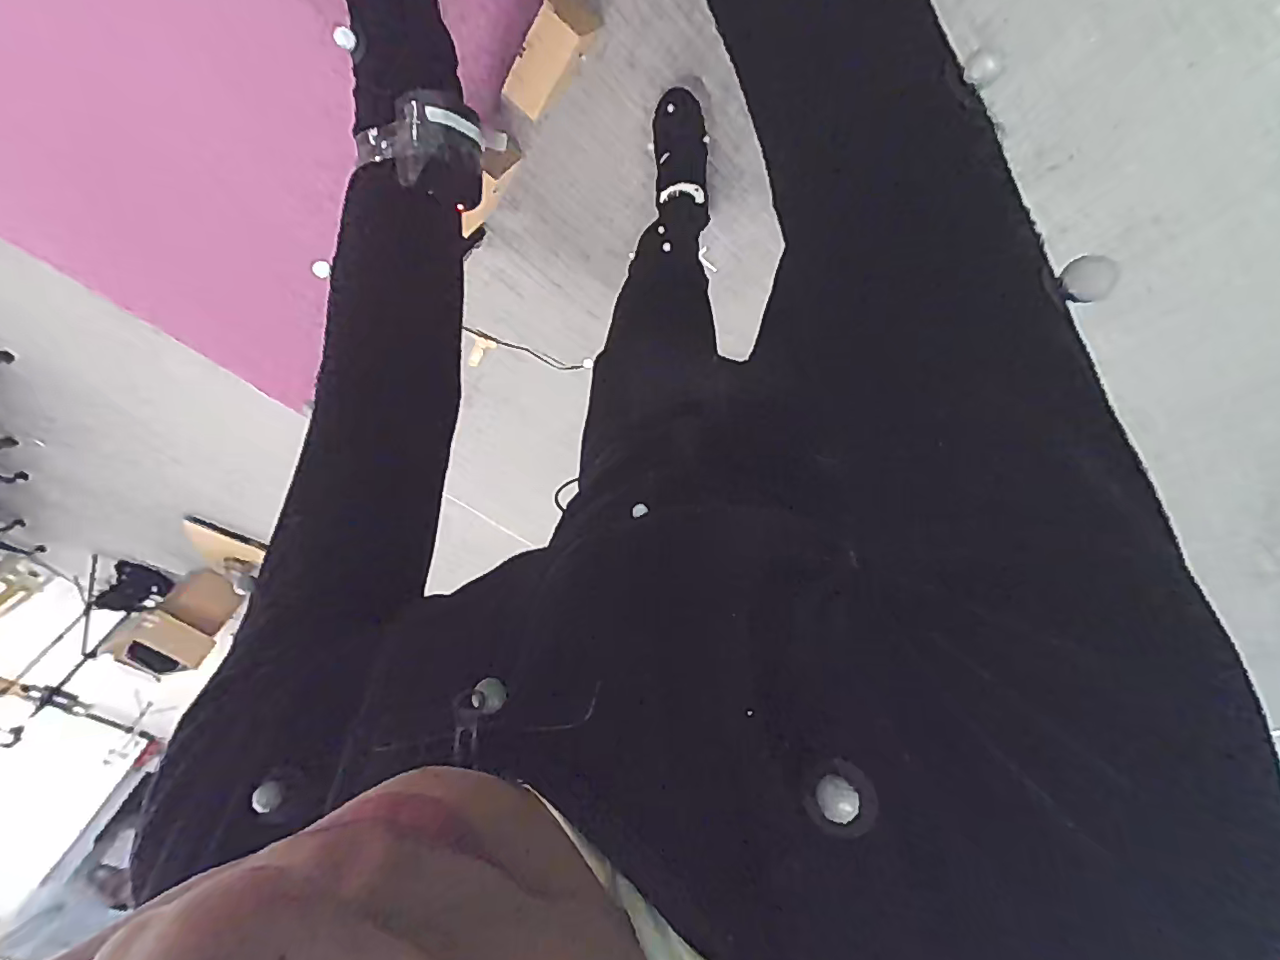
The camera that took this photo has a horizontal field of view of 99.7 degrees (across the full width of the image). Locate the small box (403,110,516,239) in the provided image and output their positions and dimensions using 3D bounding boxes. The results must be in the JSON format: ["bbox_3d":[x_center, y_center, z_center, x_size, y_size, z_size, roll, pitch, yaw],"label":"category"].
[{"bbox_3d":[-0.413,-0.710,1.256,0.168,0.176,0.179,35,134,-19],"label":"small box"}]

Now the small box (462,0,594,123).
[{"bbox_3d":[-0.207,-0.848,1.045,0.168,0.176,0.179,36,135,-20],"label":"small box"}]
